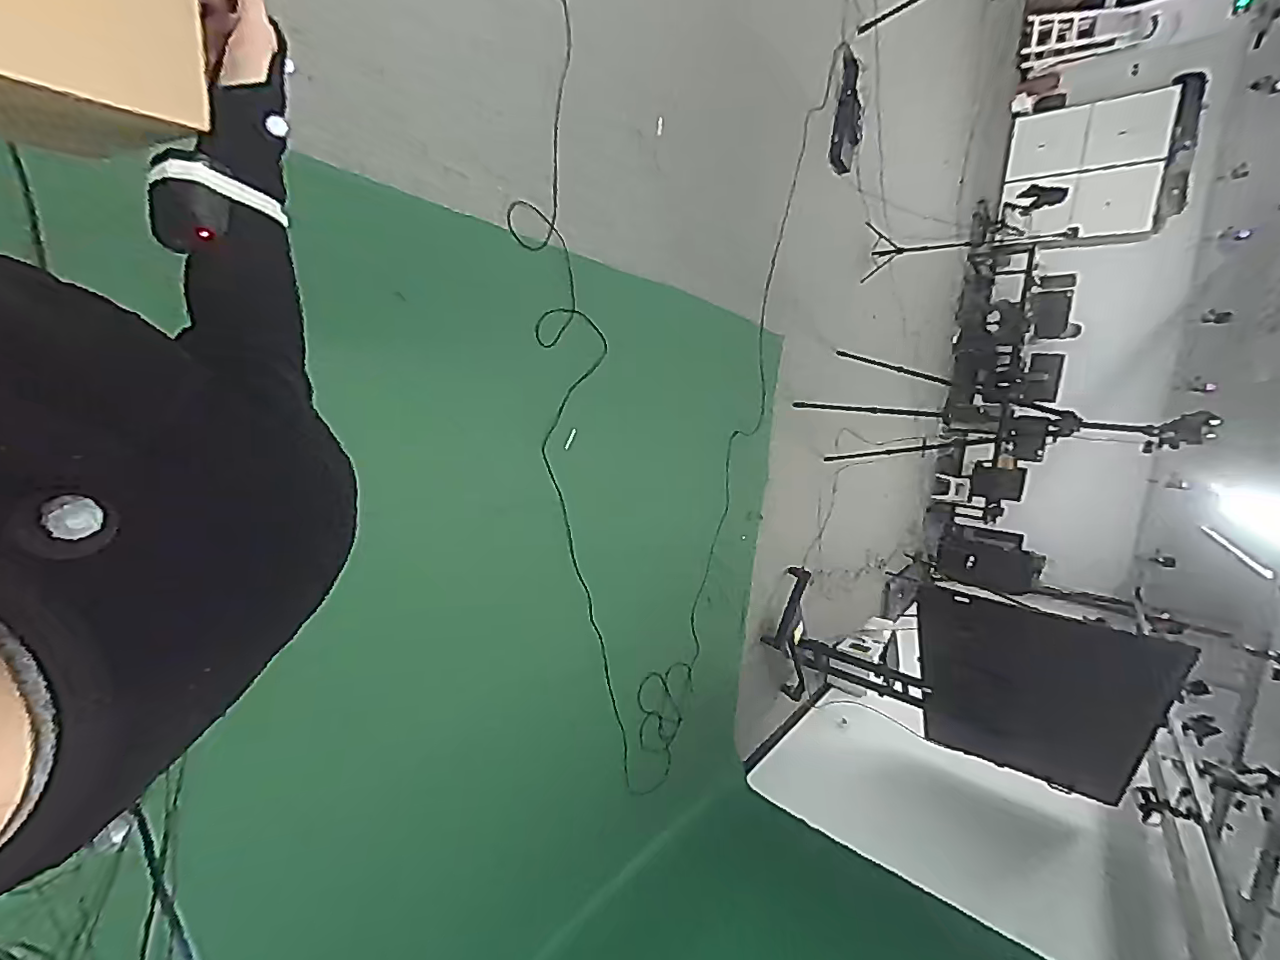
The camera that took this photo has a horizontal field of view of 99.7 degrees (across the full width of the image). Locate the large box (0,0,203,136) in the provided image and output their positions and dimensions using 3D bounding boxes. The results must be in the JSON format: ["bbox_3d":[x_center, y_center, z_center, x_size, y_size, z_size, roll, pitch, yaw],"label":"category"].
[{"bbox_3d":[-0.564,-0.431,0.307,0.408,0.320,0.320,-17,119,-52],"label":"large box"}]
